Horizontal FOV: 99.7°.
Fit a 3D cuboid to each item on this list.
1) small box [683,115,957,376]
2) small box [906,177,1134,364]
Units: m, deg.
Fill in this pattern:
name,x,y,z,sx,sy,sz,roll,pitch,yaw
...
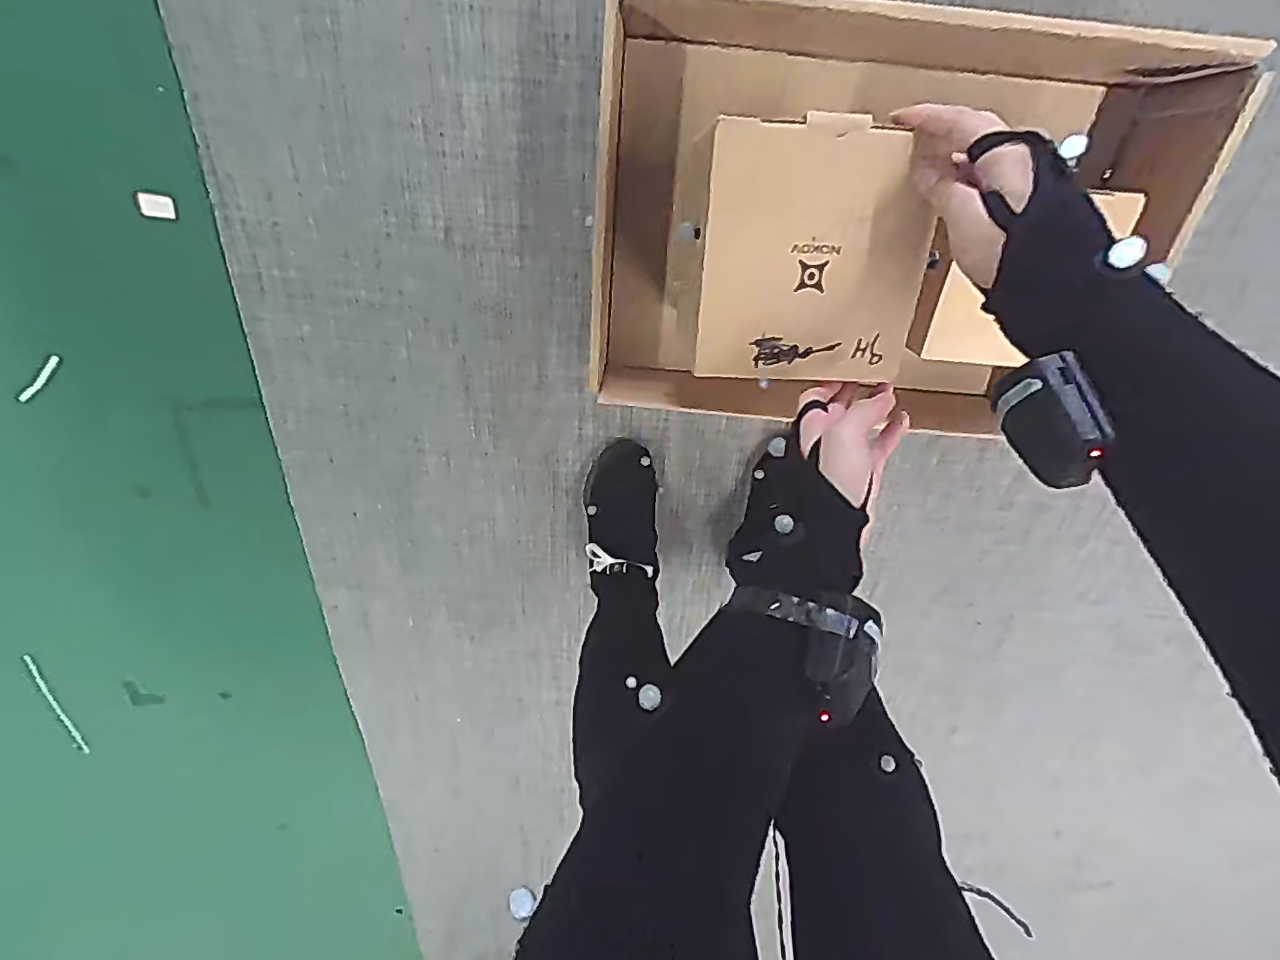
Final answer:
name,x,y,z,sx,sy,sz,roll,pitch,yaw
small box,0.131,-0.200,0.474,0.168,0.176,0.179,1,117,-3
small box,0.400,-0.252,0.637,0.168,0.176,0.179,4,119,-1
